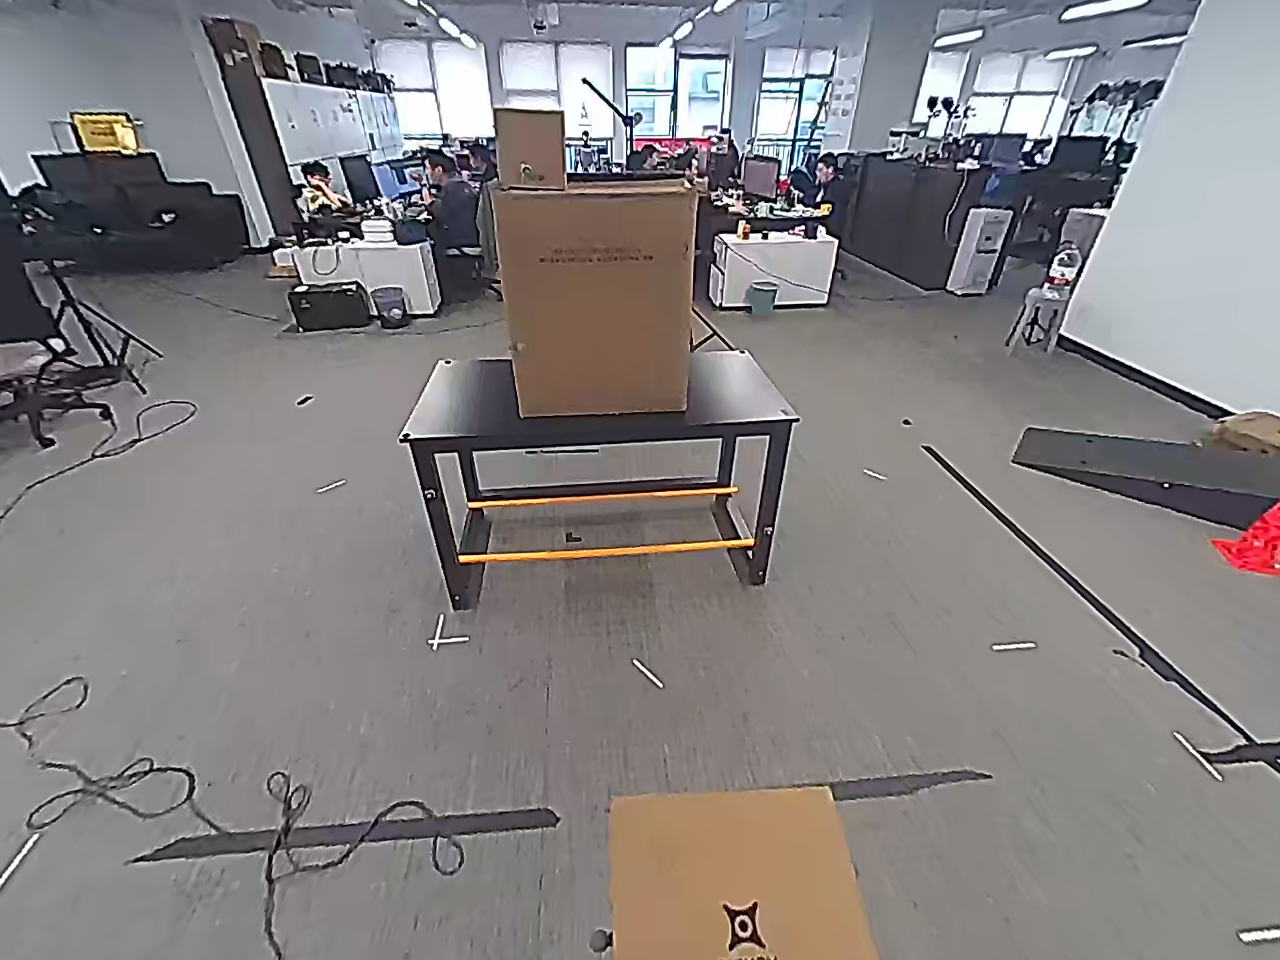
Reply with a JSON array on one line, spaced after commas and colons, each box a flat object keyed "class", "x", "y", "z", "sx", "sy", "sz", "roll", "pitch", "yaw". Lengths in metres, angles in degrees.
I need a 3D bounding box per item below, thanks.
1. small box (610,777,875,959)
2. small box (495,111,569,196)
[{"class": "small box", "x": 0.061, "y": 0.344, "z": 0.397, "sx": 0.168, "sy": 0.176, "sz": 0.179, "roll": -1, "pitch": 43, "yaw": -2}, {"class": "small box", "x": -0.269, "y": -0.833, "z": 1.376, "sx": 0.168, "sy": 0.176, "sz": 0.179, "roll": -2, "pitch": 35, "yaw": -6}]
